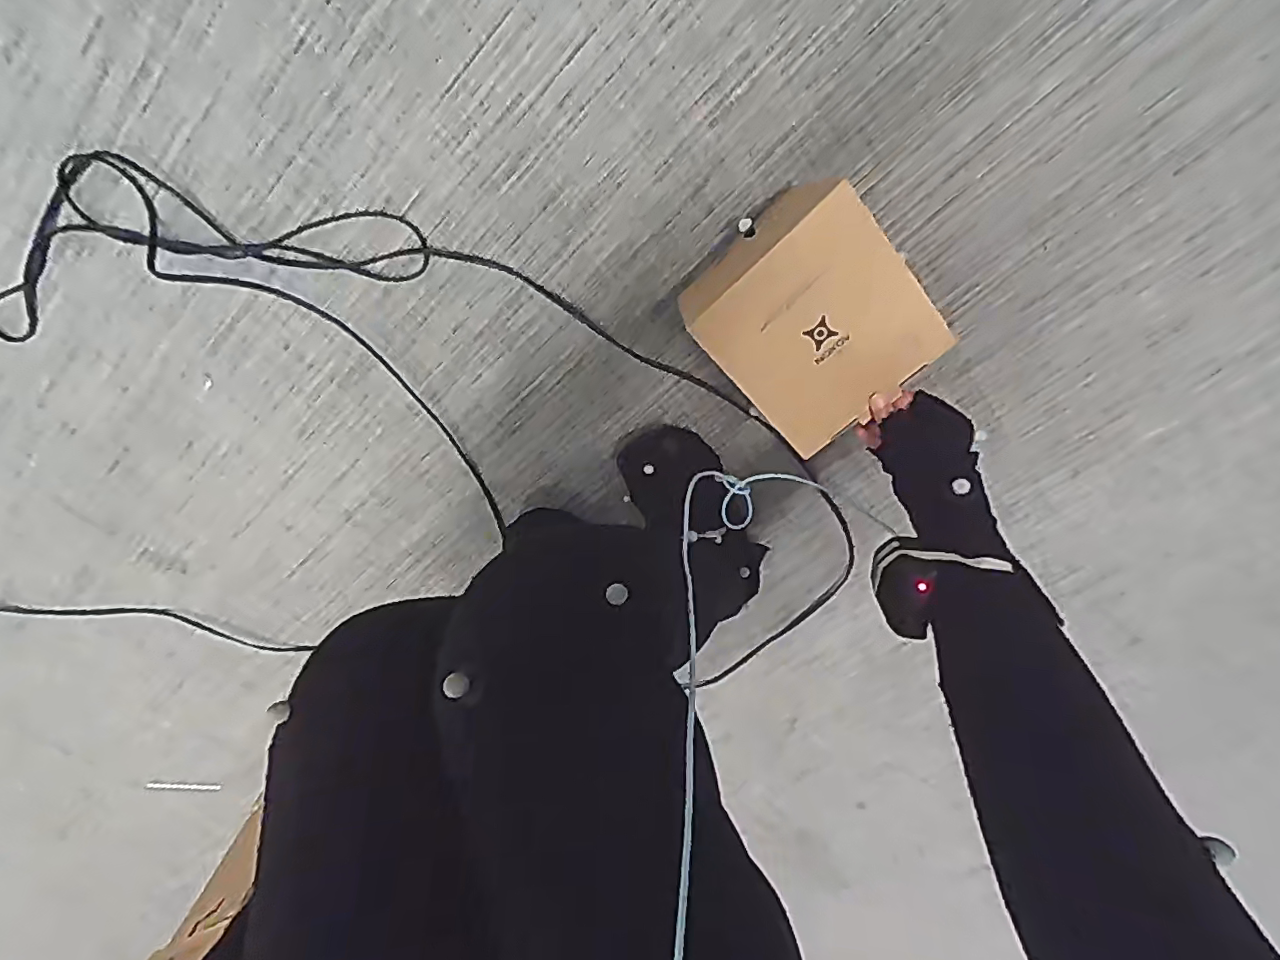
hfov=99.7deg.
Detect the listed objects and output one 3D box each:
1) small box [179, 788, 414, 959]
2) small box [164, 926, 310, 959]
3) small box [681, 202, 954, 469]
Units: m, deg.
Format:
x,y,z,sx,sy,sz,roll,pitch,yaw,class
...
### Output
x,y,z,sx,sy,sz,roll,pitch,yaw,class
-0.443,0.544,0.720,0.168,0.176,0.179,-36,113,18,small box
-0.452,0.624,0.578,0.168,0.176,0.179,-31,113,16,small box
0.158,-0.150,0.535,0.168,0.176,0.179,-40,111,19,small box
